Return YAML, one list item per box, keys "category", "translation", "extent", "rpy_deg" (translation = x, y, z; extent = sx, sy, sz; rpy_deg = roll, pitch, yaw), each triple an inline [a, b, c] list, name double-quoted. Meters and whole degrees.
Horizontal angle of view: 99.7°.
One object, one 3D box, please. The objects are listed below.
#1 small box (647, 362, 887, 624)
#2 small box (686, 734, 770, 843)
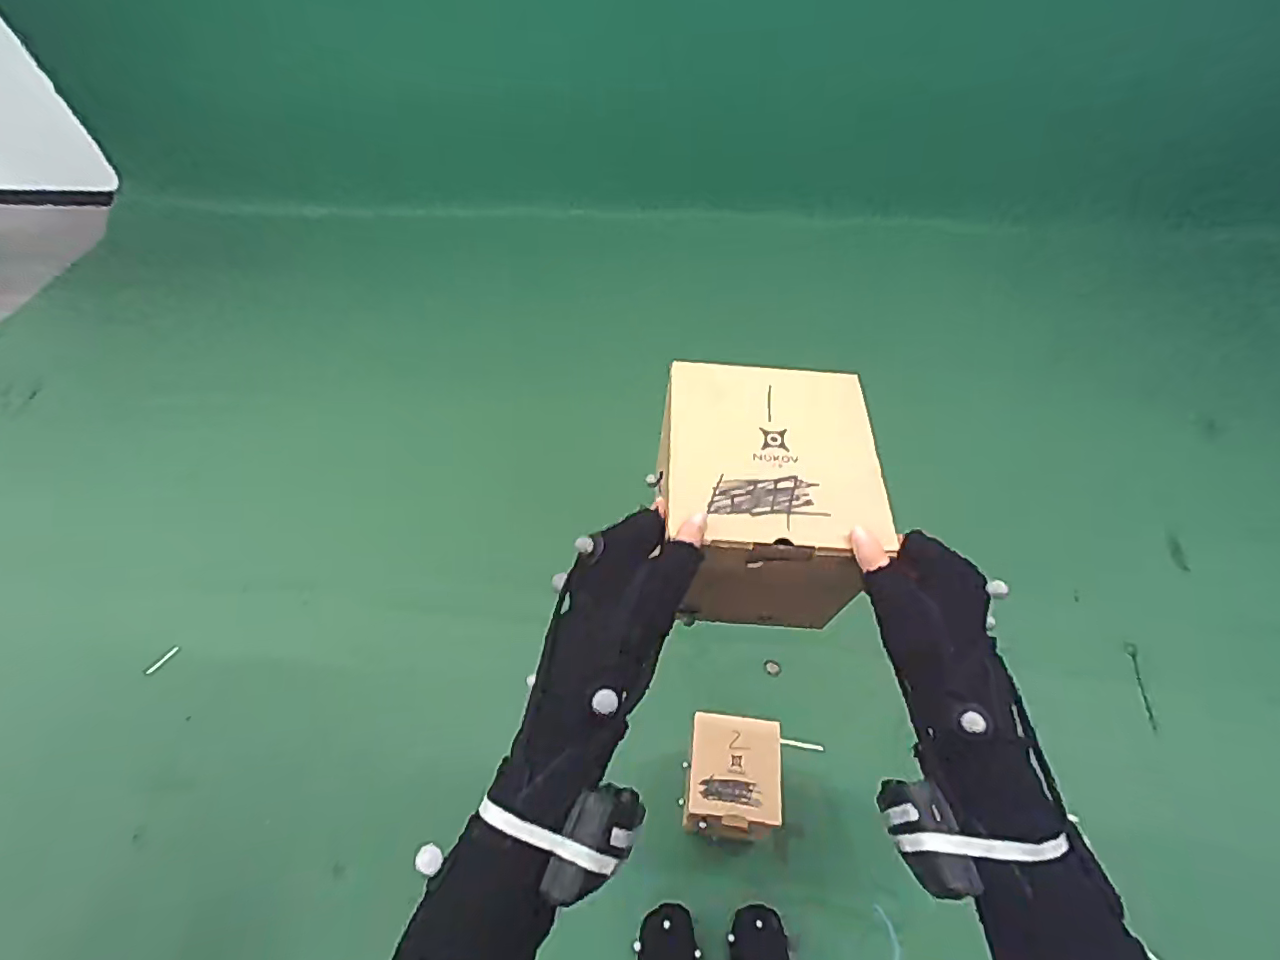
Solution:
- category: "small box"
  translation: [0.096, 0.019, 0.494]
  extent: [0.168, 0.176, 0.179]
  rpy_deg: [5, 55, -1]
- category: "small box"
  translation: [0.192, 0.685, 1.197]
  extent: [0.168, 0.176, 0.179]
  rpy_deg: [5, 54, 6]
